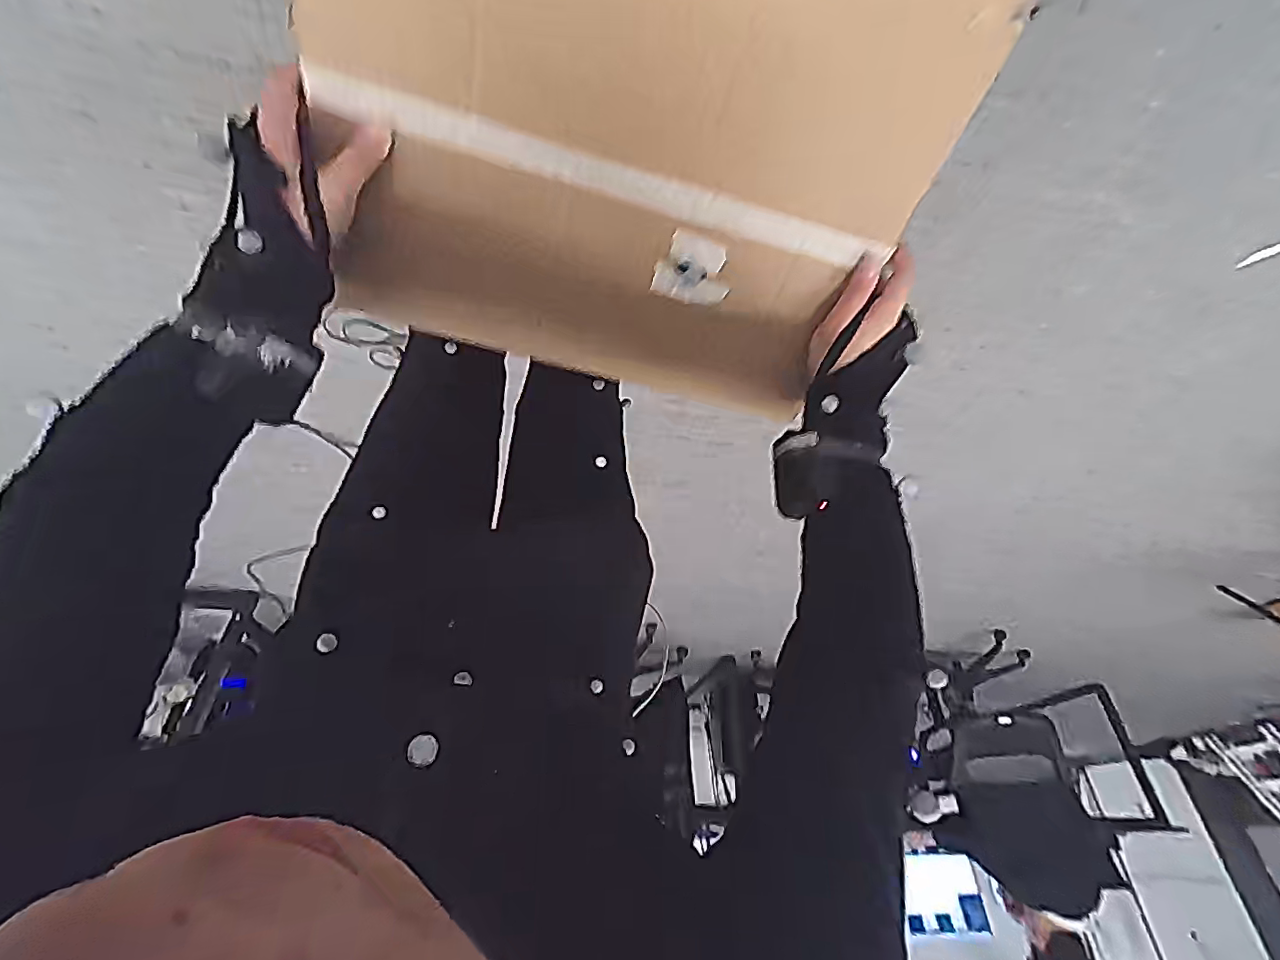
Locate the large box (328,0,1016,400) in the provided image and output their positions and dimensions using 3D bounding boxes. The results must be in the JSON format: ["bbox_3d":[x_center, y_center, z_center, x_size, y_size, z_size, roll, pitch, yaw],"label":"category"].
[{"bbox_3d":[-0.007,-0.320,0.491,0.408,0.320,0.320,12,133,-11],"label":"large box"}]
